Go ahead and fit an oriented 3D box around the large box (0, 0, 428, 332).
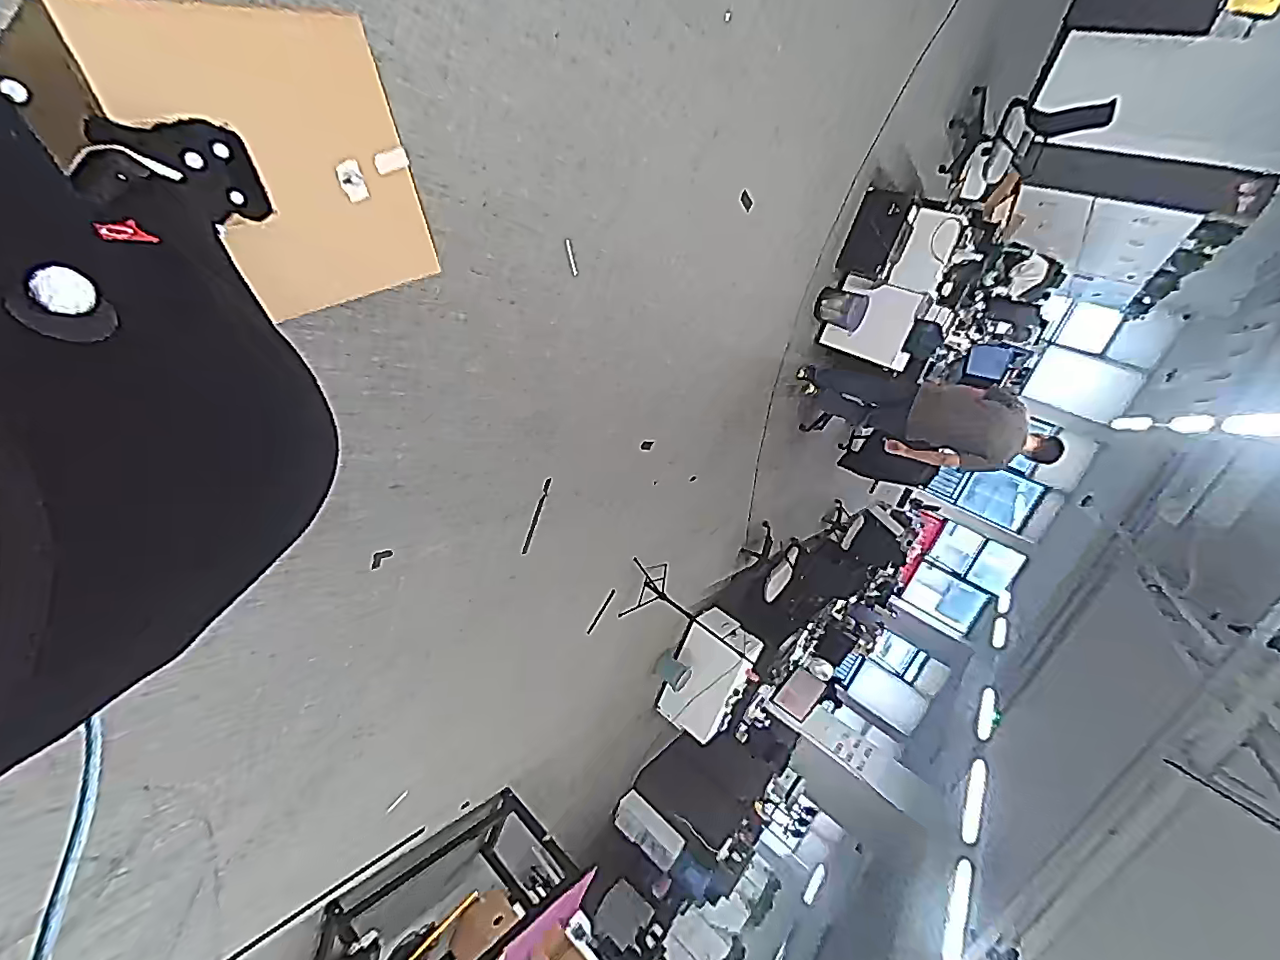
[{"bbox_3d":[-0.580,-0.415,0.753,0.320,0.408,0.320,-41,133,-40],"label":"large box"}]
